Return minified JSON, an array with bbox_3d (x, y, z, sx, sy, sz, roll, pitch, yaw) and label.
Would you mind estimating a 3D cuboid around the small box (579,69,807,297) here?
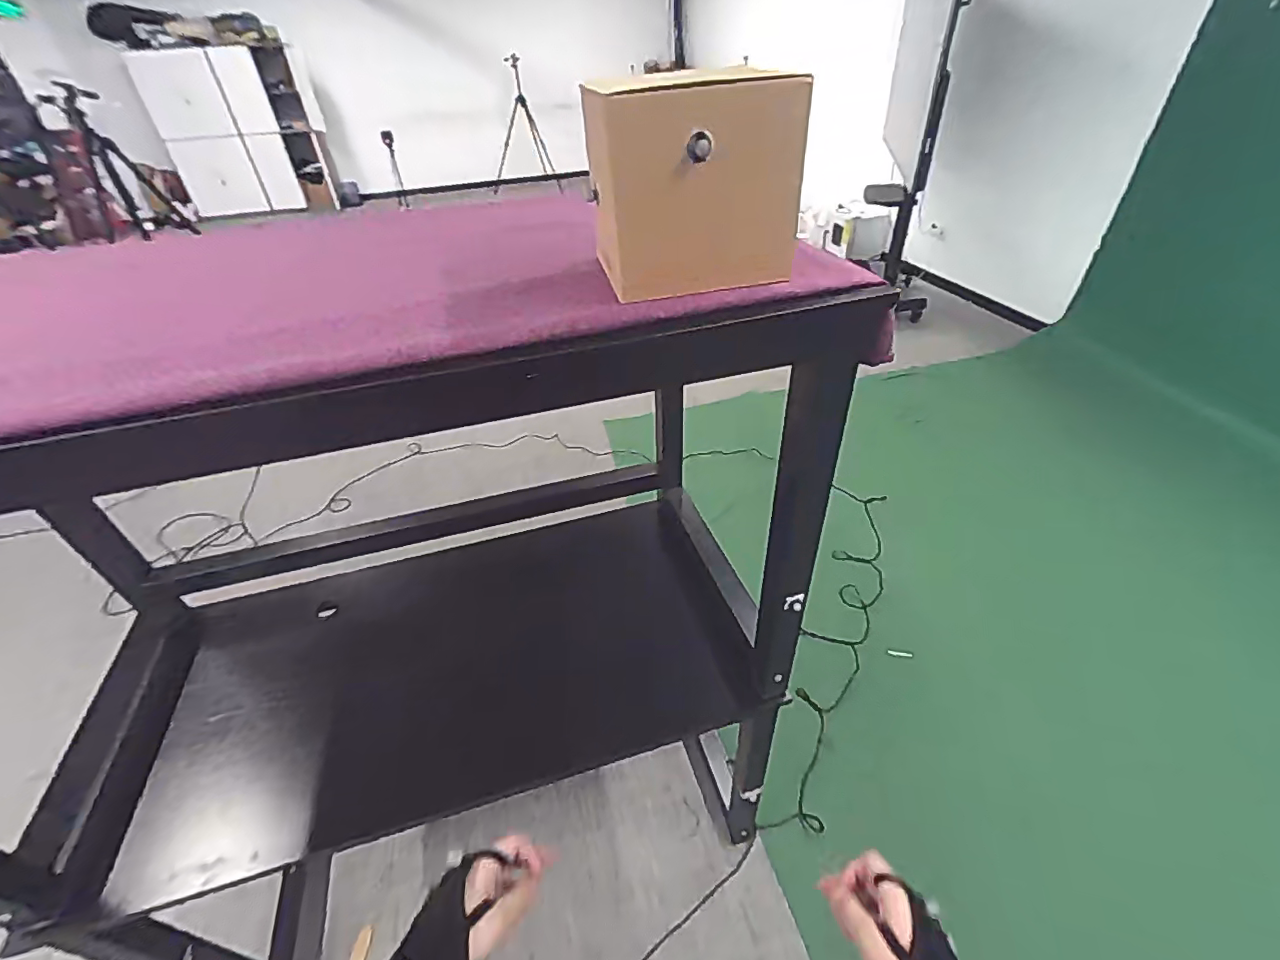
[{"bbox_3d":[0.045,-0.293,0.536,0.179,0.176,0.168,-10,40,-6],"label":"small box"}]
